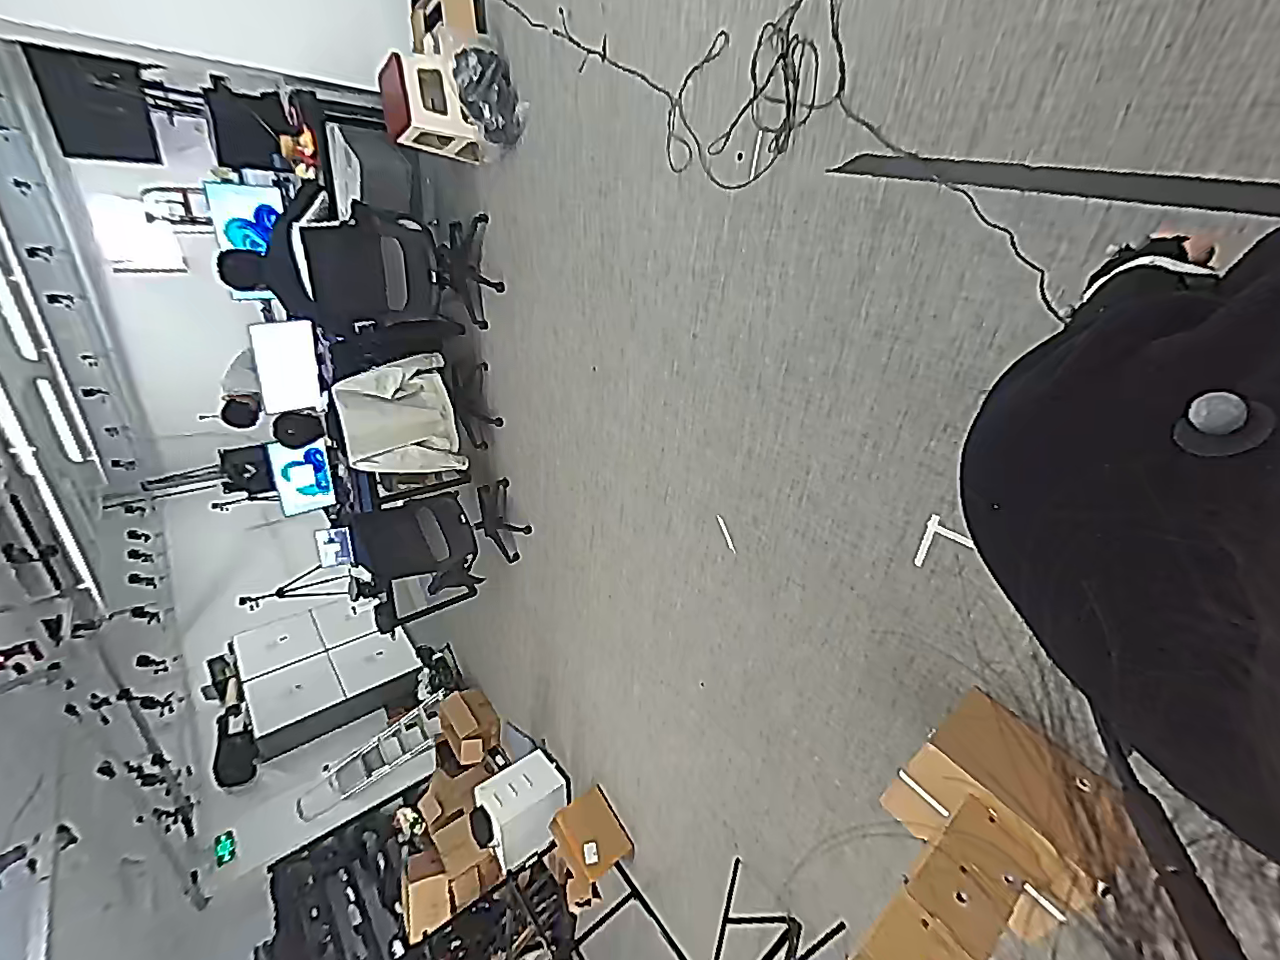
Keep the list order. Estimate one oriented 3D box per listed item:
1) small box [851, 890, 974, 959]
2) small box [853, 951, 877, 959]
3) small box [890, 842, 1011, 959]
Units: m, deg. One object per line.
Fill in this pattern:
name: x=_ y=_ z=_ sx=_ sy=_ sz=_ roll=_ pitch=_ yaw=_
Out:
small box: x=0.535 y=0.971 z=1.070 sx=0.168 sy=0.176 sz=0.179 roll=37 pitch=132 yaw=38
small box: x=0.410 y=1.015 z=0.976 sx=0.168 sy=0.176 sz=0.179 roll=38 pitch=133 yaw=39
small box: x=0.660 y=0.935 z=1.166 sx=0.168 sy=0.176 sz=0.179 roll=39 pitch=132 yaw=37
